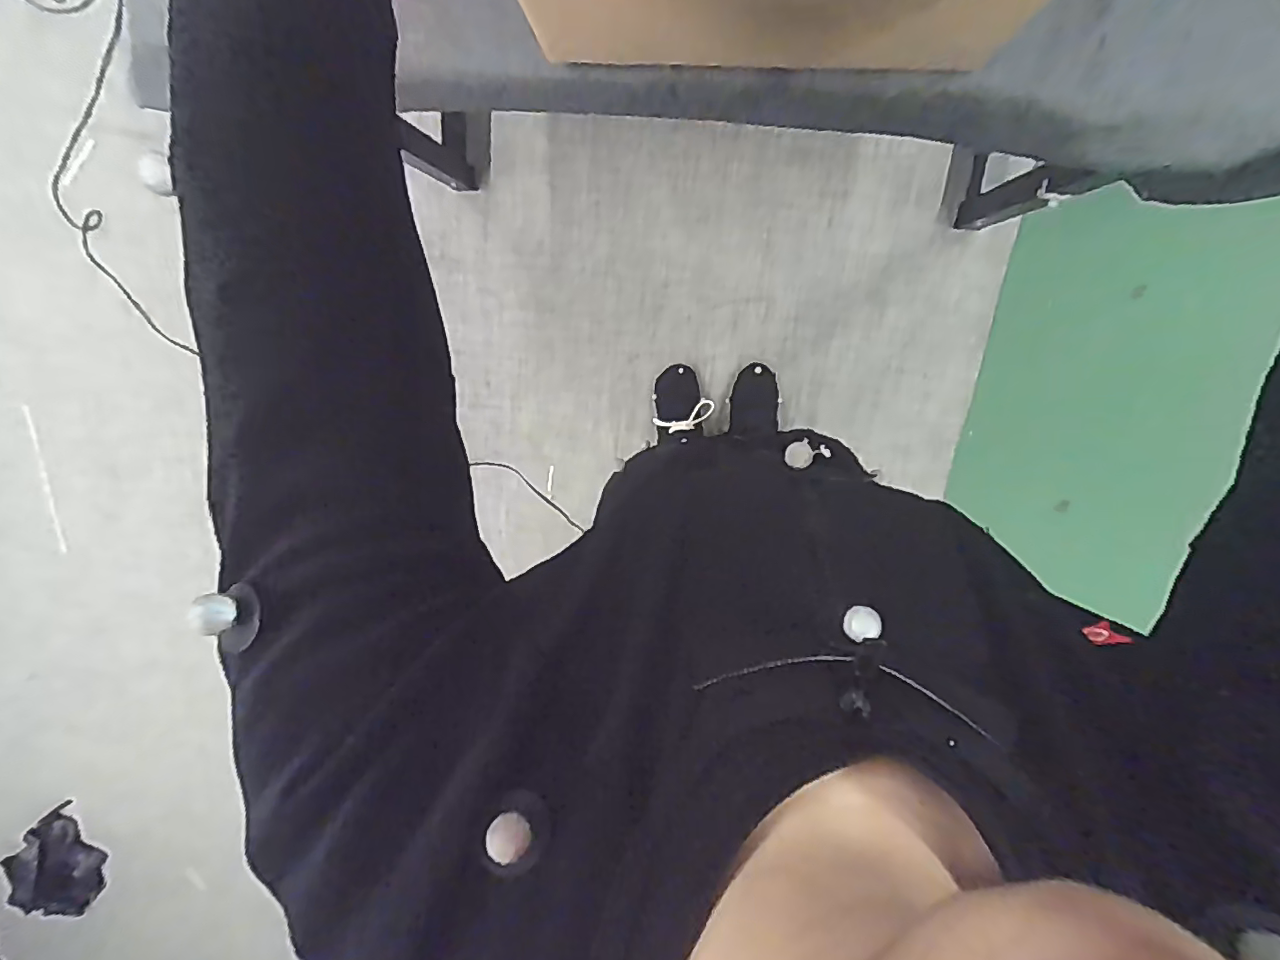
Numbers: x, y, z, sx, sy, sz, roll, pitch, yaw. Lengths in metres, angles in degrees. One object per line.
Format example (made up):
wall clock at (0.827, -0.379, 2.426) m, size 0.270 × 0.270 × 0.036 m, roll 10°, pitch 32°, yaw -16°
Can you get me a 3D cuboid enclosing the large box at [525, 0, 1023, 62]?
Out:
large box at (0.101, -0.507, 0.329) m, size 0.408 × 0.320 × 0.320 m, roll 3°, pitch 105°, yaw 3°
